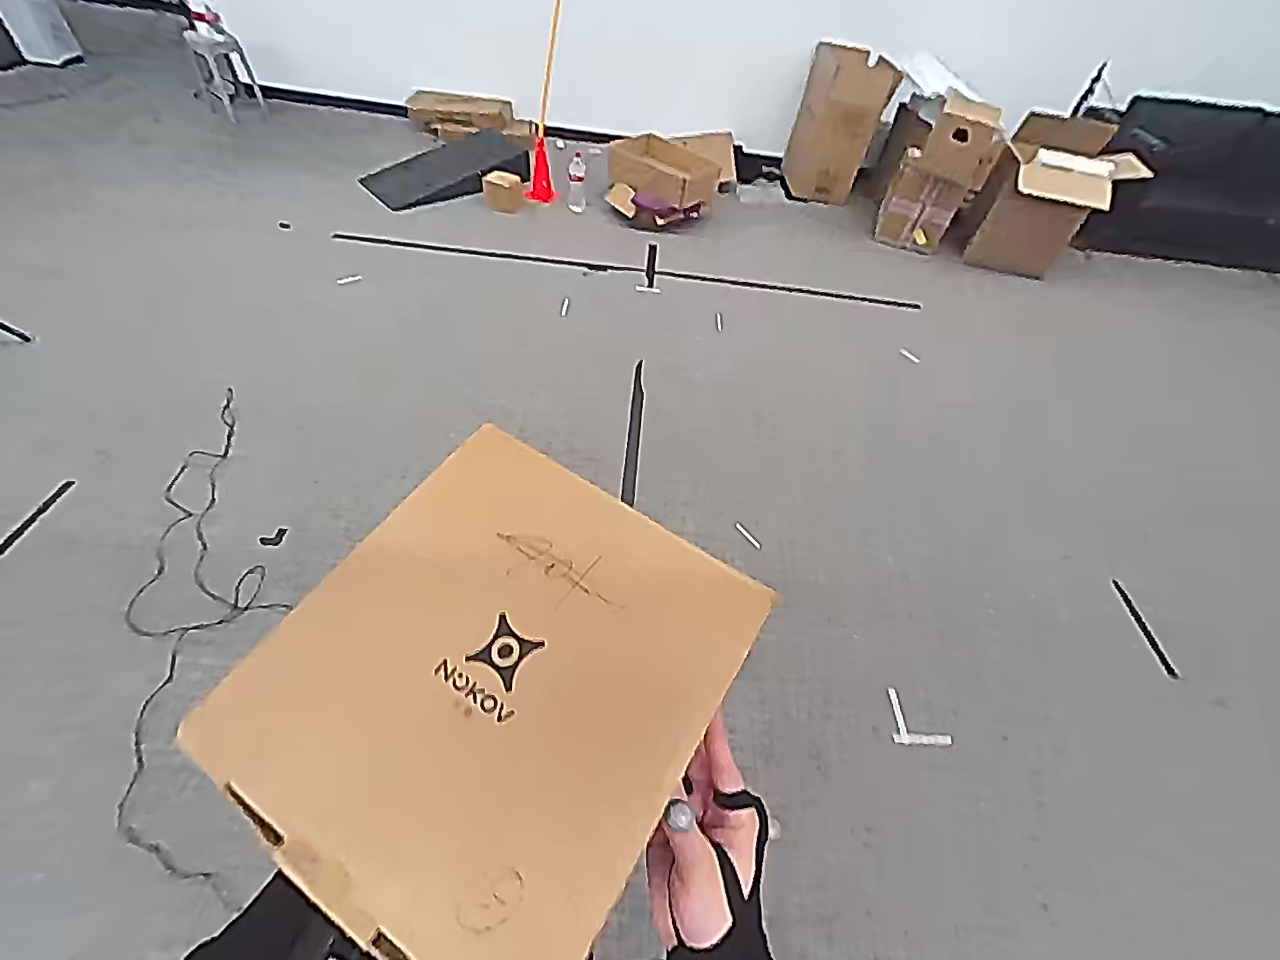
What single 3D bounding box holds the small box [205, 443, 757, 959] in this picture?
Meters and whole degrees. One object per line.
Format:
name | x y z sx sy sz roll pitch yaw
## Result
small box | -0.061 0.120 0.297 0.168 0.176 0.179 29 61 13
